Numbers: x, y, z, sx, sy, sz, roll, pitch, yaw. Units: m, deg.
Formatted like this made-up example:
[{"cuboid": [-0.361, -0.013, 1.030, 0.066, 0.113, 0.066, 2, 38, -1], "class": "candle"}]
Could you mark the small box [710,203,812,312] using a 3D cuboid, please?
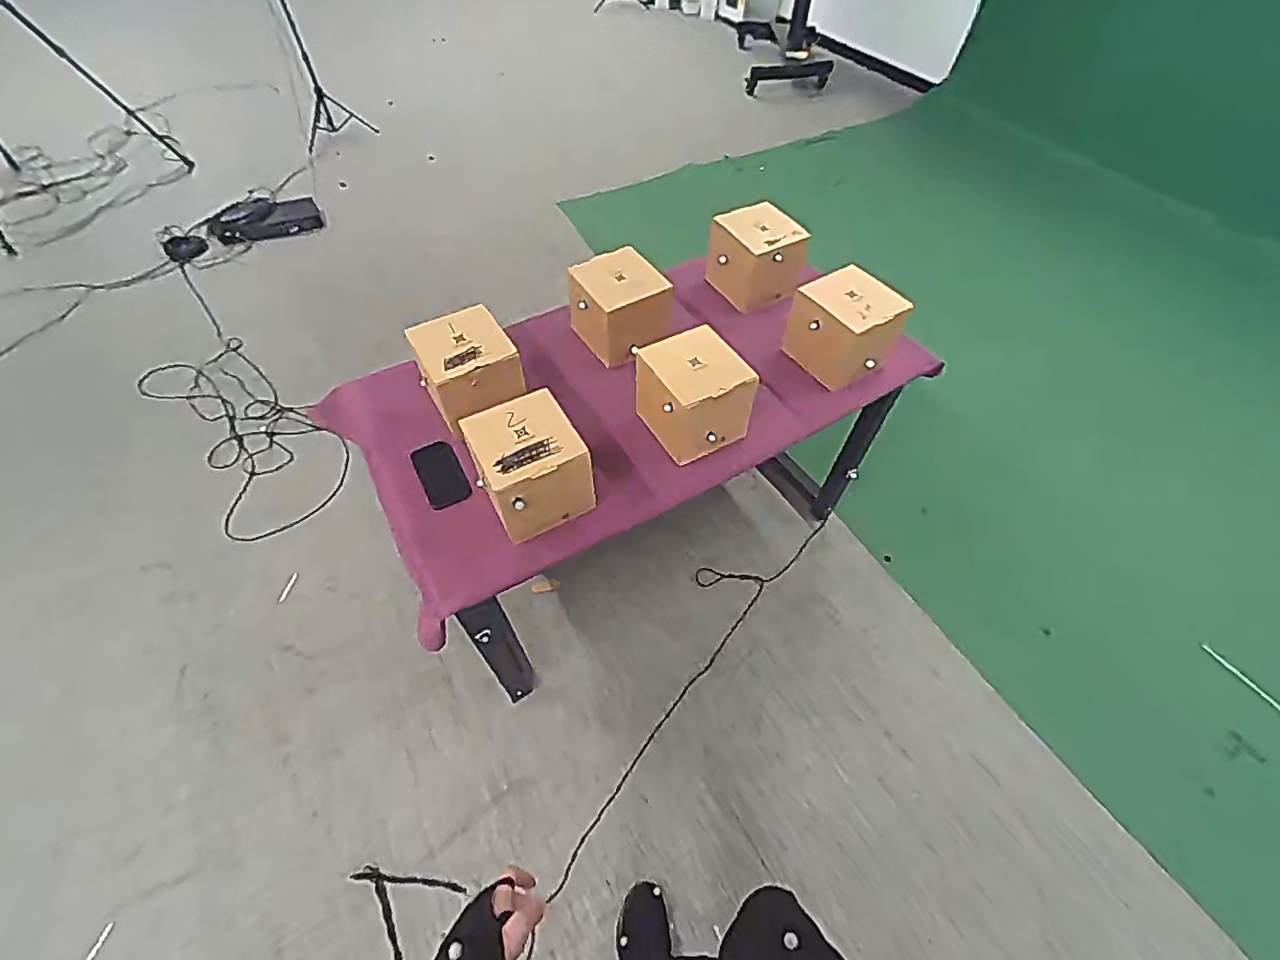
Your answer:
[{"cuboid": [0.289, -0.549, 1.341, 0.168, 0.176, 0.179, -26, 59, -16], "class": "small box"}]

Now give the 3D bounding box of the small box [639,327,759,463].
[{"cuboid": [0.107, -0.166, 1.071, 0.168, 0.176, 0.179, -25, 58, -17], "class": "small box"}]

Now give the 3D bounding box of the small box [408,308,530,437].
[{"cuboid": [-0.339, -0.210, 1.099, 0.168, 0.176, 0.179, -27, 59, -18], "class": "small box"}]

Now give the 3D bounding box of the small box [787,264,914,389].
[{"cuboid": [0.448, -0.334, 1.185, 0.168, 0.176, 0.179, -28, 60, -17], "class": "small box"}]

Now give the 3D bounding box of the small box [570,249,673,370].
[{"cuboid": [-0.044, -0.384, 1.225, 0.168, 0.176, 0.179, -27, 60, -17], "class": "small box"}]
